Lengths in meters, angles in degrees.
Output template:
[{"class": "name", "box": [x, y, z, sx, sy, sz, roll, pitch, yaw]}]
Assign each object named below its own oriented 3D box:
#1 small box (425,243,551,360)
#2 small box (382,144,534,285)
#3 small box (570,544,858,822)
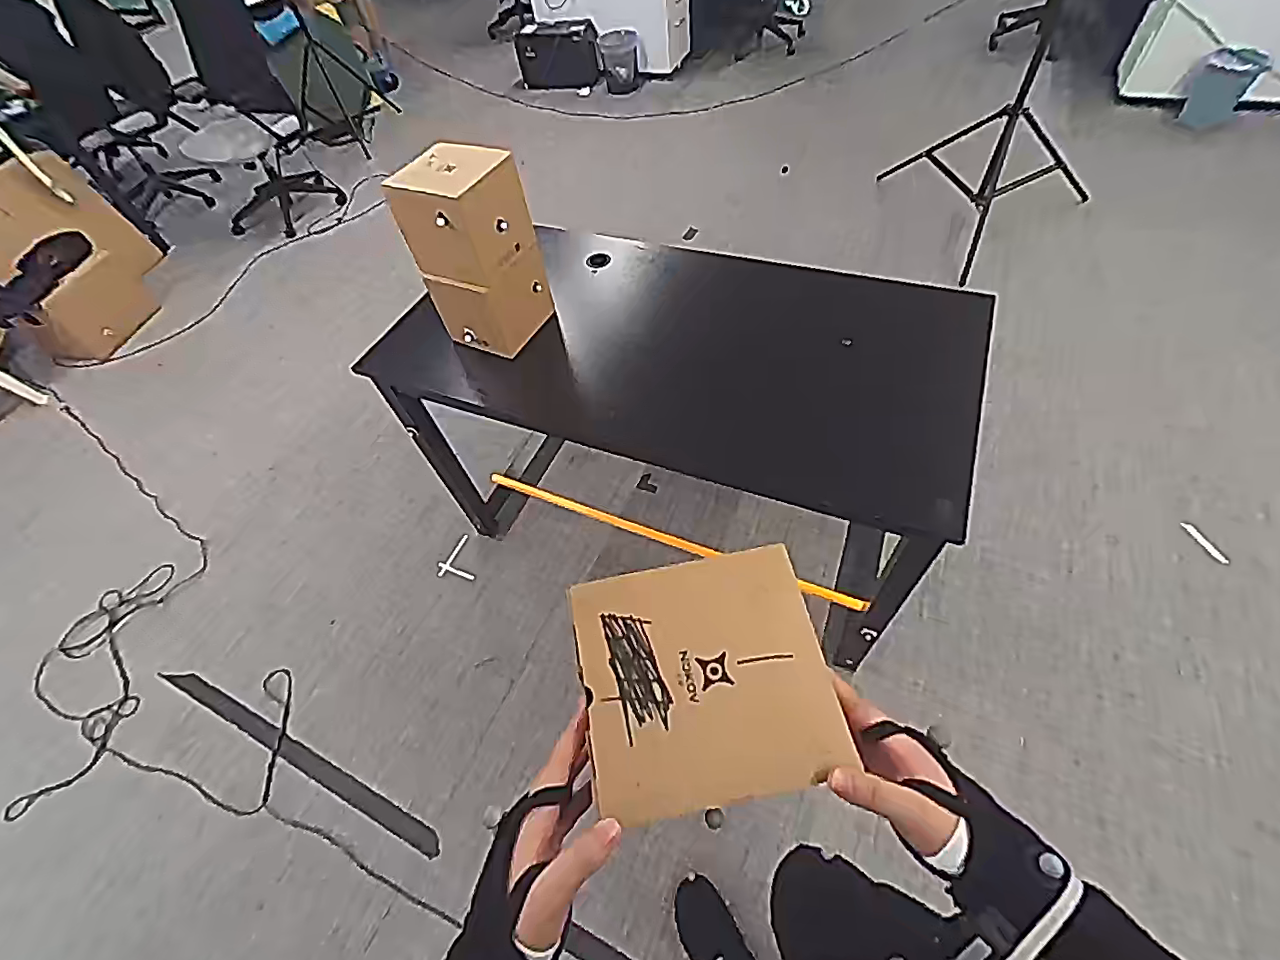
[{"class": "small box", "box": [-0.302, -0.383, 1.126, 0.168, 0.176, 0.179, 19, 60, 21]}, {"class": "small box", "box": [-0.321, -0.485, 0.997, 0.179, 0.176, 0.168, 19, 59, 20]}, {"class": "small box", "box": [0.048, 0.173, 0.454, 0.179, 0.176, 0.168, -11, 62, -3]}]
